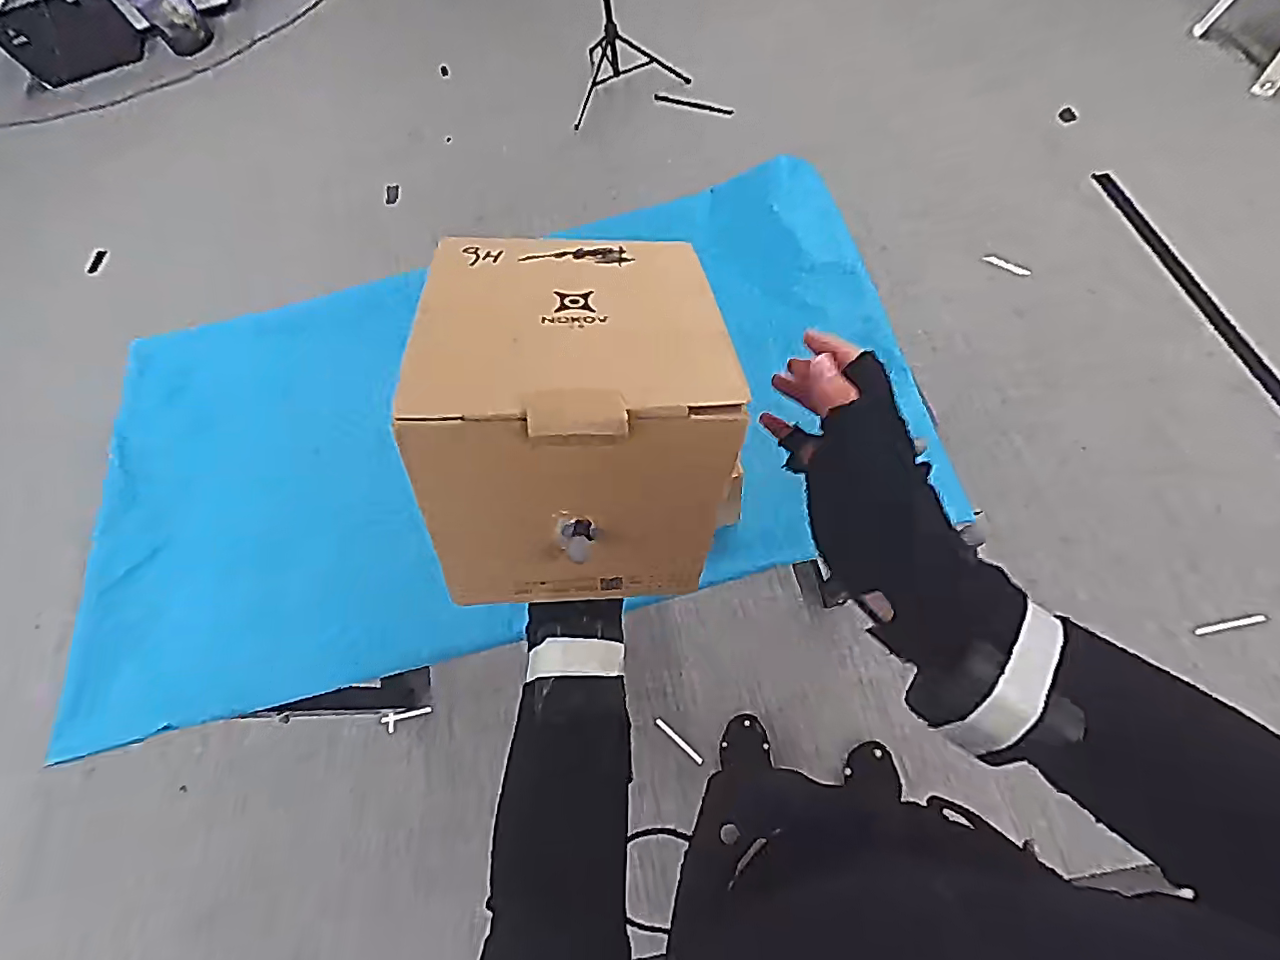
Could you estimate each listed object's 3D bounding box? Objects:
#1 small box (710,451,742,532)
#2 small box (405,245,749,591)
[{"bbox_3d":[0.023,-0.029,0.676,0.168,0.176,0.179,-15,66,2],"label":"small box"},{"bbox_3d":[-0.040,-0.035,0.366,0.168,0.176,0.179,-1,50,-8],"label":"small box"}]
